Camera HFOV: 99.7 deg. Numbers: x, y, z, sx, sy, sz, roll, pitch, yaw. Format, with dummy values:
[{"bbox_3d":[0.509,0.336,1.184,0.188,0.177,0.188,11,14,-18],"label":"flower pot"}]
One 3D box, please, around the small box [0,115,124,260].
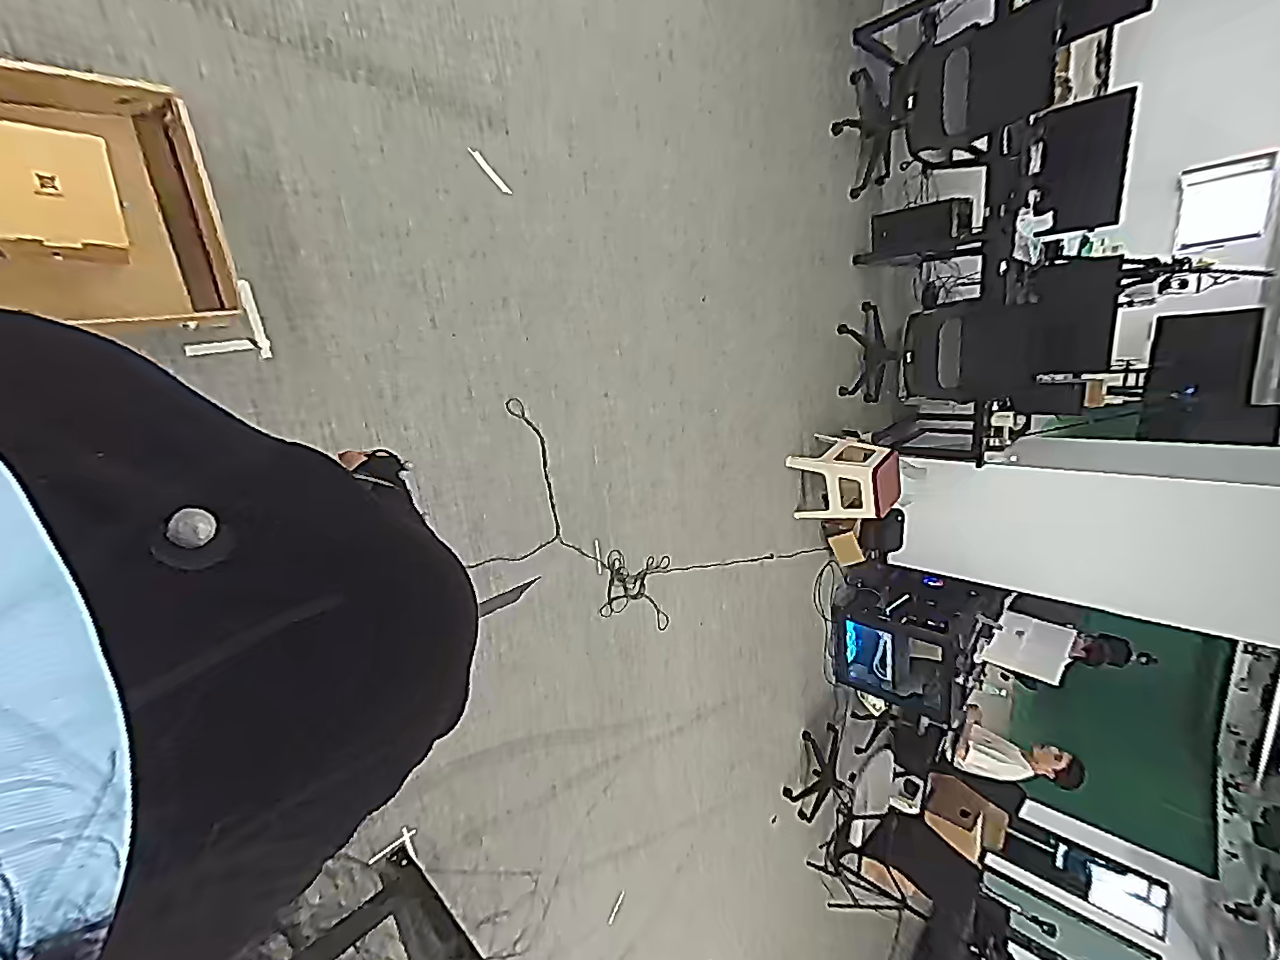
[{"bbox_3d":[-1.010,-0.487,0.916,0.168,0.176,0.179,-14,107,-43],"label":"small box"}]
